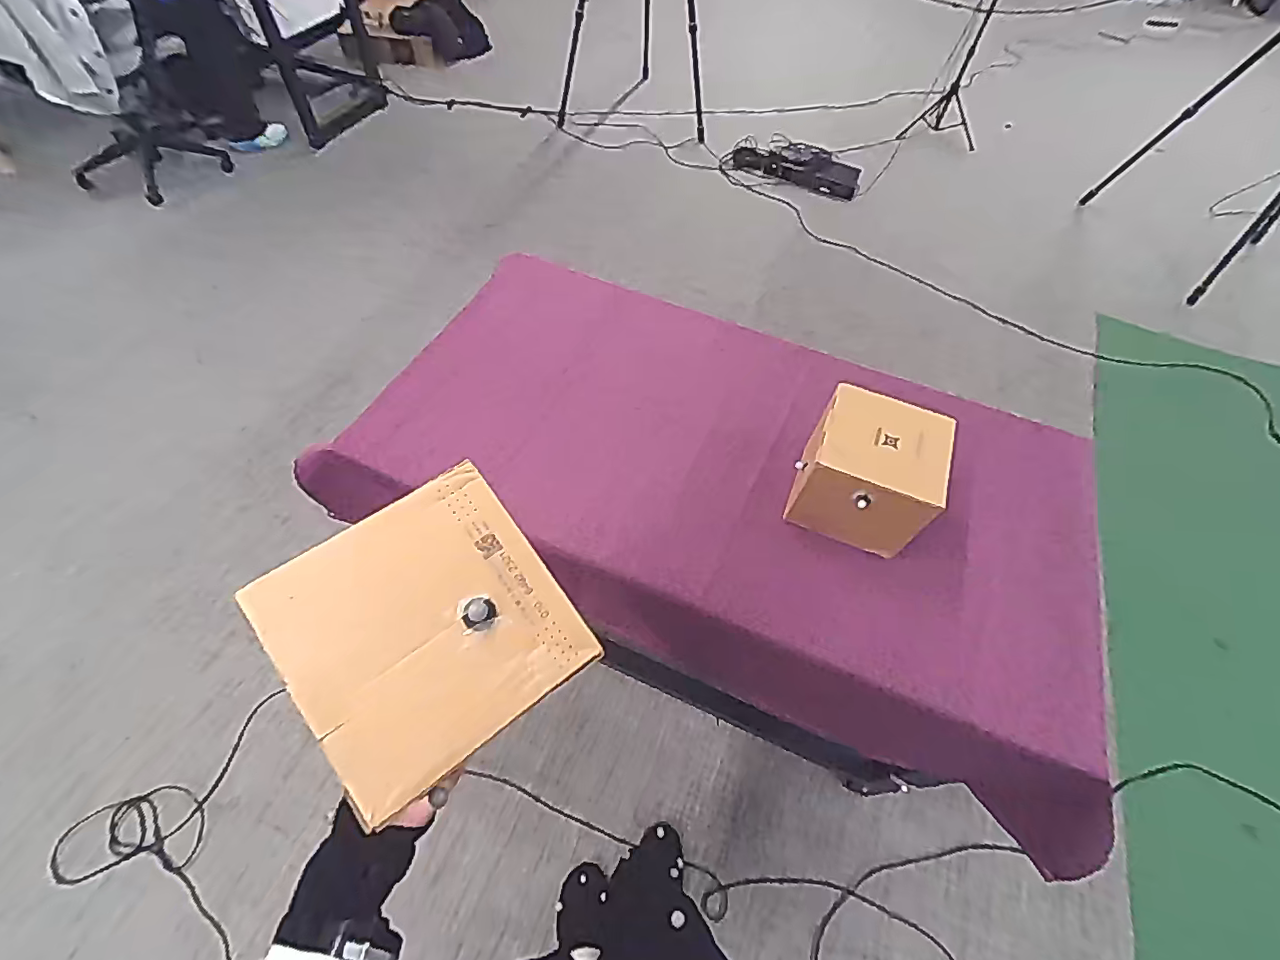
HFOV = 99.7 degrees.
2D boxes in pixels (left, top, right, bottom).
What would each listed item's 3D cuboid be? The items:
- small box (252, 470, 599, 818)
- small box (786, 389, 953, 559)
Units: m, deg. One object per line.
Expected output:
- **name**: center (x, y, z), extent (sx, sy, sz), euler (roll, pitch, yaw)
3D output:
- **small box**: center (-0.150, 0.122, 0.431), extent (0.176, 0.179, 0.168), euler (-33, 78, -23)
- **small box**: center (0.342, -0.003, 0.828), extent (0.179, 0.176, 0.168), euler (21, 58, 10)
